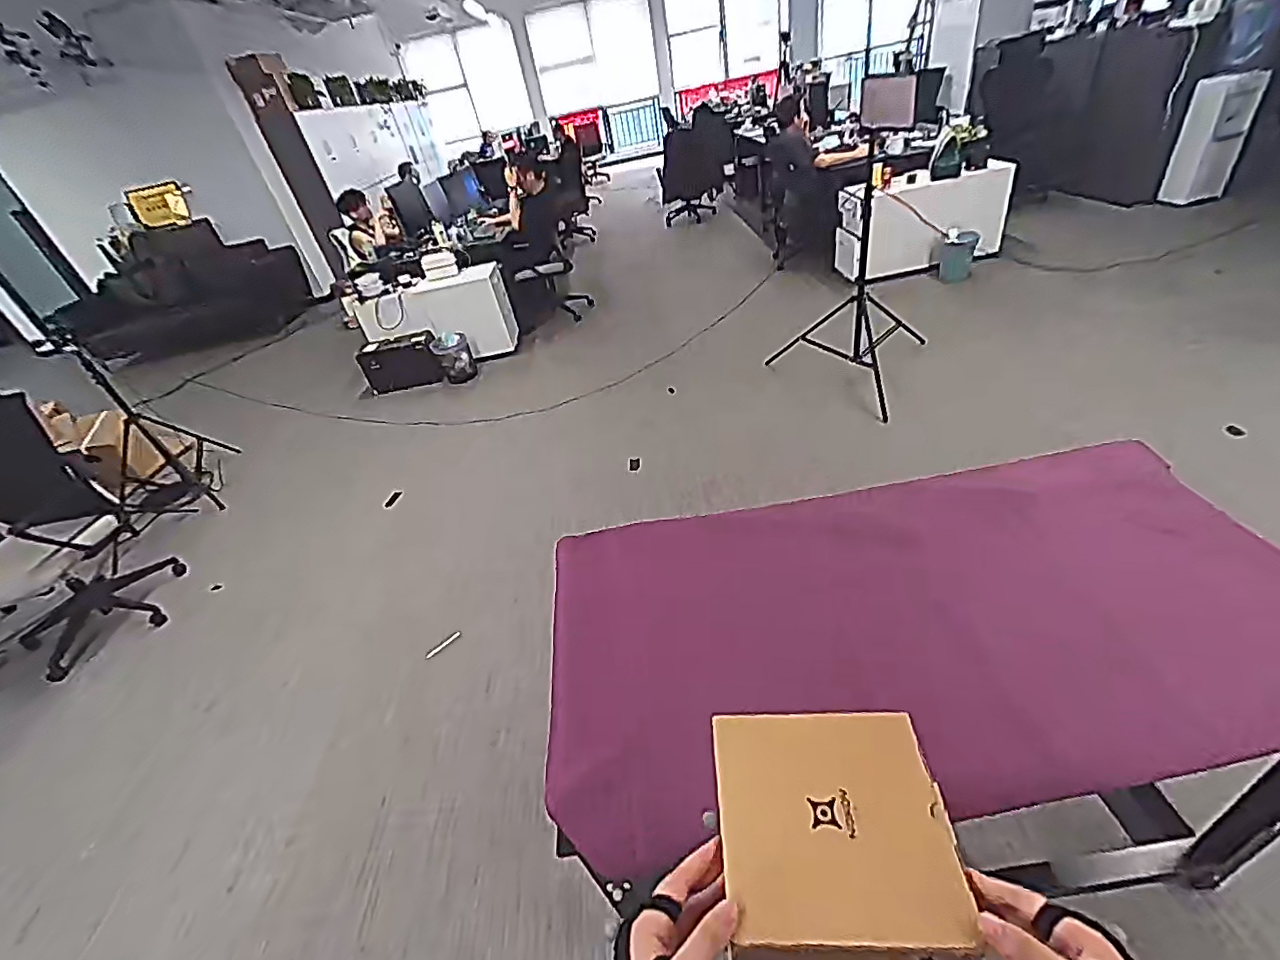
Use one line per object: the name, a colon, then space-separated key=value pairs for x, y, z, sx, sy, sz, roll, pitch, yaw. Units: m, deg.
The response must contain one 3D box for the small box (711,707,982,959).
small box: x=0.159 y=0.325 z=0.482 sx=0.179 sy=0.176 sz=0.168 roll=-3 pitch=37 yaw=5
